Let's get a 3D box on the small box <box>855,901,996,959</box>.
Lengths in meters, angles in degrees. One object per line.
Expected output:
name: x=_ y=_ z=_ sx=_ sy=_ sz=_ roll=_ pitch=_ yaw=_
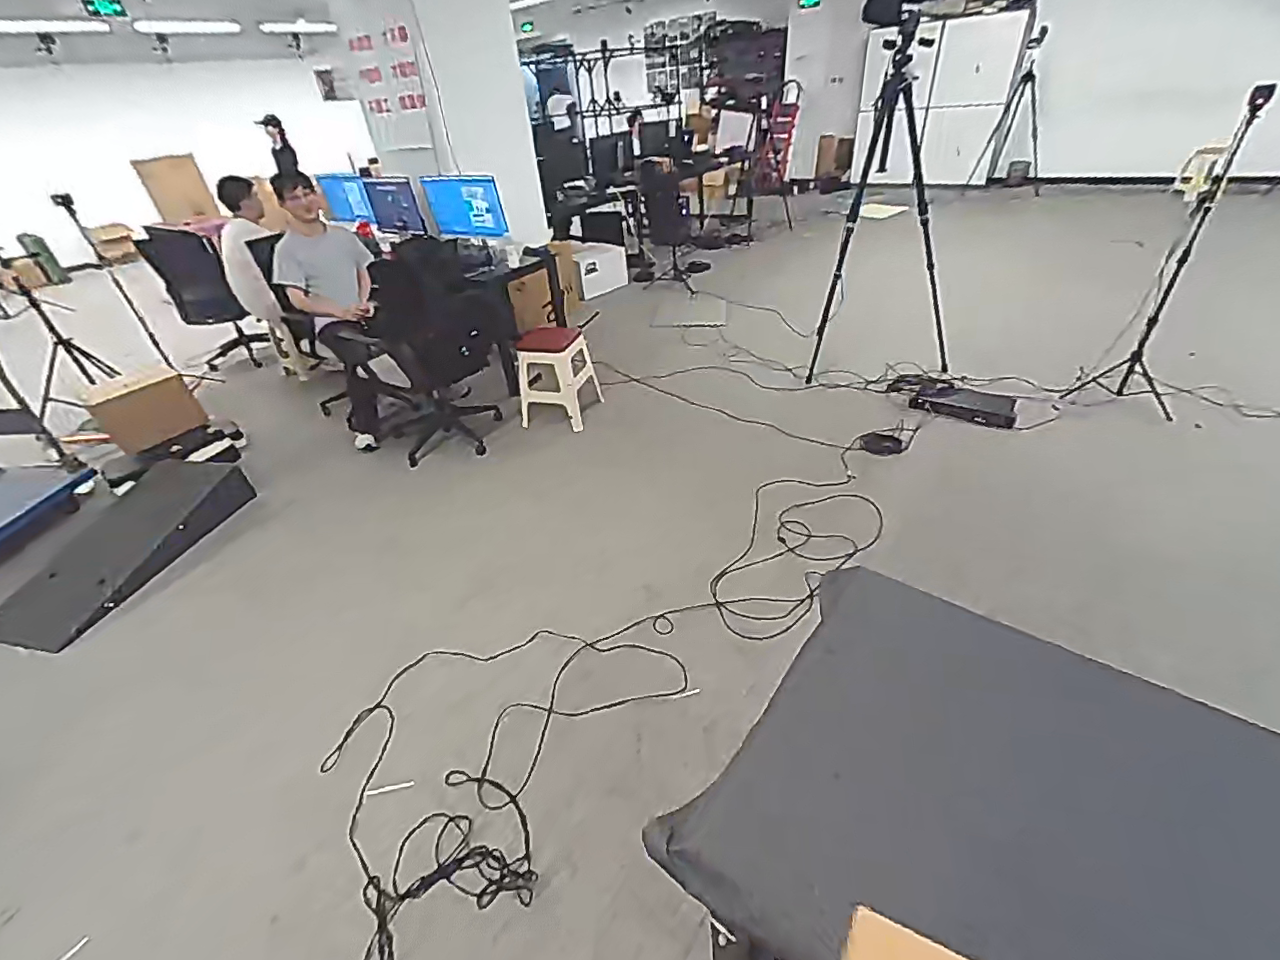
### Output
small box: x=0.214 y=0.439 z=0.355 sx=0.168 sy=0.176 sz=0.179 roll=13 pitch=42 yaw=27
